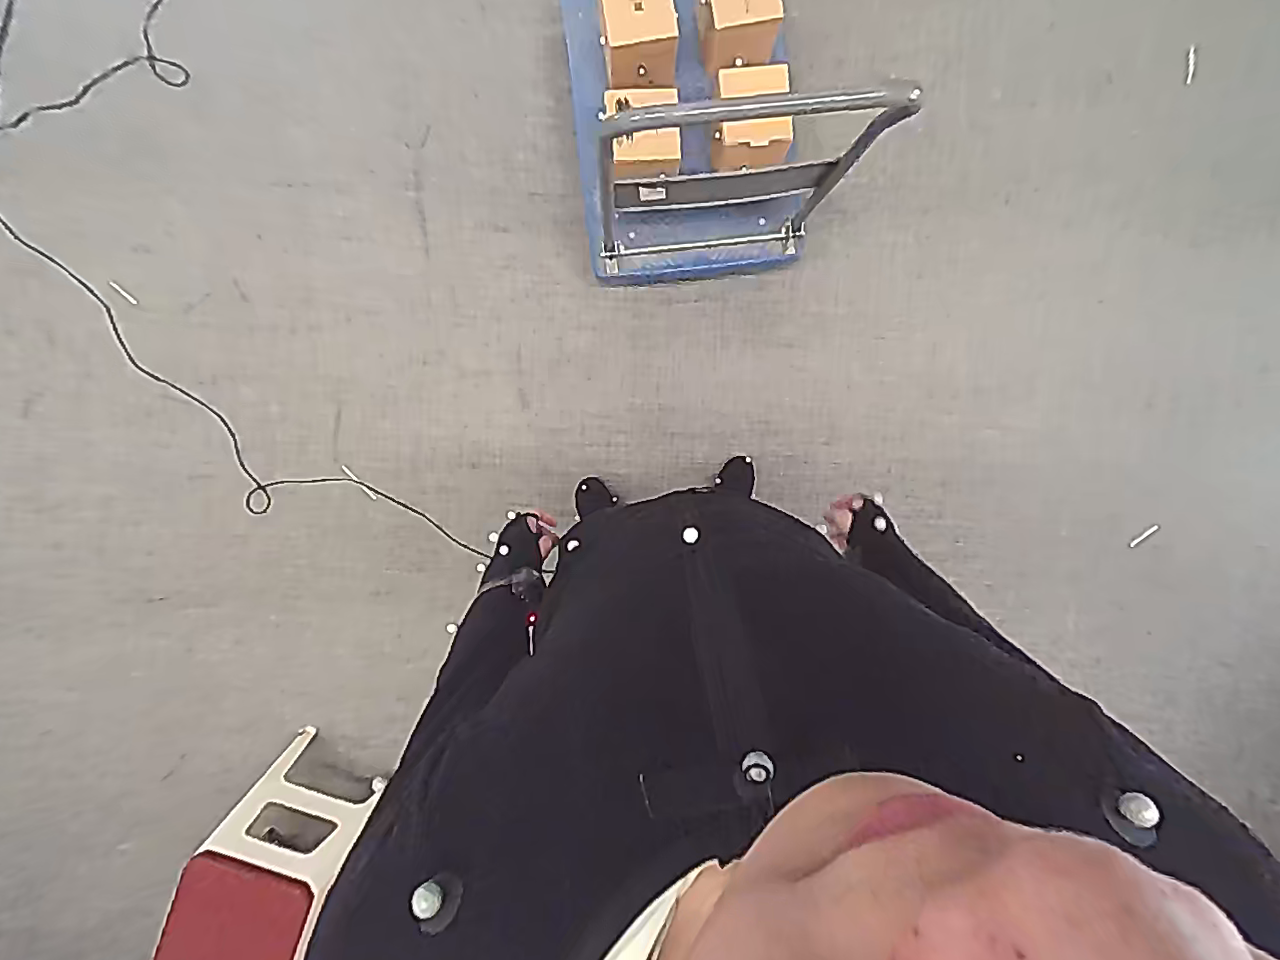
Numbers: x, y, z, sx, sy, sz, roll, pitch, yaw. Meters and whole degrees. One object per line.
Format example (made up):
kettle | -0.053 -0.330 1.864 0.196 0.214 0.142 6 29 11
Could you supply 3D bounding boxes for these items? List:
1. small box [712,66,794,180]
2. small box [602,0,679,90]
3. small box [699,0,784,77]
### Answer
small box | 0.279 -0.894 1.365 0.168 0.176 0.179 -6 93 -1
small box | 0.000 -1.116 1.352 0.168 0.176 0.179 -10 92 -1
small box | 0.247 -1.162 1.353 0.168 0.176 0.179 -10 93 1
